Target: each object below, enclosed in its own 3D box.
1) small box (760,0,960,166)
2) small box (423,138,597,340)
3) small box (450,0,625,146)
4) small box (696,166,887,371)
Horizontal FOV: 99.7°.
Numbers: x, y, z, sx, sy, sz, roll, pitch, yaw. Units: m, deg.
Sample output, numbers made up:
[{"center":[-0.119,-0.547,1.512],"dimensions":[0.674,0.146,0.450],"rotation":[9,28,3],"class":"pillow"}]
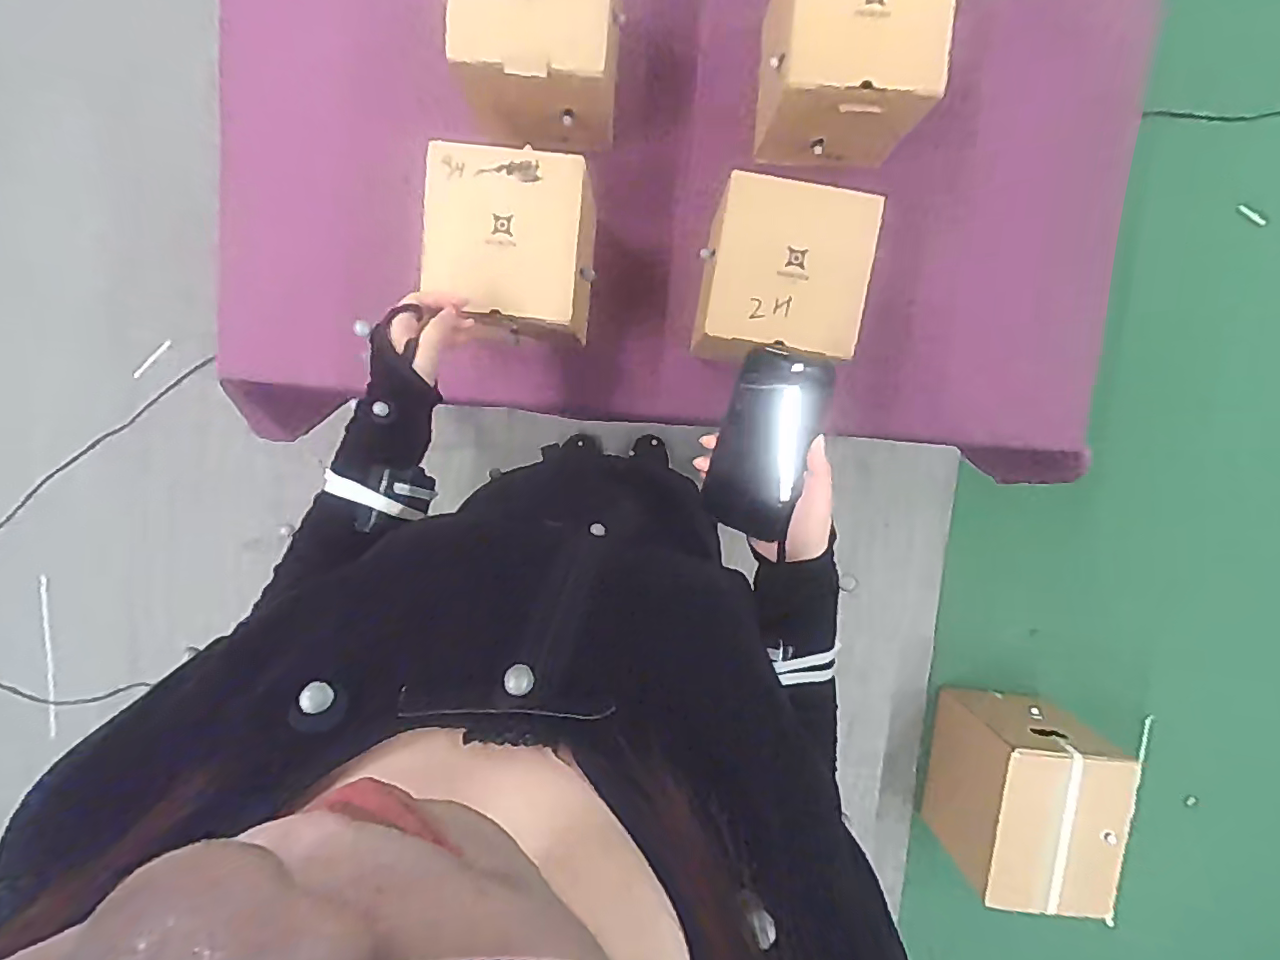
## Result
[{"center":[0.242,-0.499,0.626],"dimensions":[0.168,0.176,0.179],"rotation":[3,97,0],"class":"small box"},{"center":[-0.144,-0.271,0.651],"dimensions":[0.168,0.176,0.179],"rotation":[5,97,-1],"class":"small box"},{"center":[-0.107,-0.519,0.624],"dimensions":[0.168,0.176,0.179],"rotation":[5,96,-2],"class":"small box"},{"center":[0.166,-0.238,0.654],"dimensions":[0.168,0.176,0.179],"rotation":[10,96,0],"class":"small box"}]
